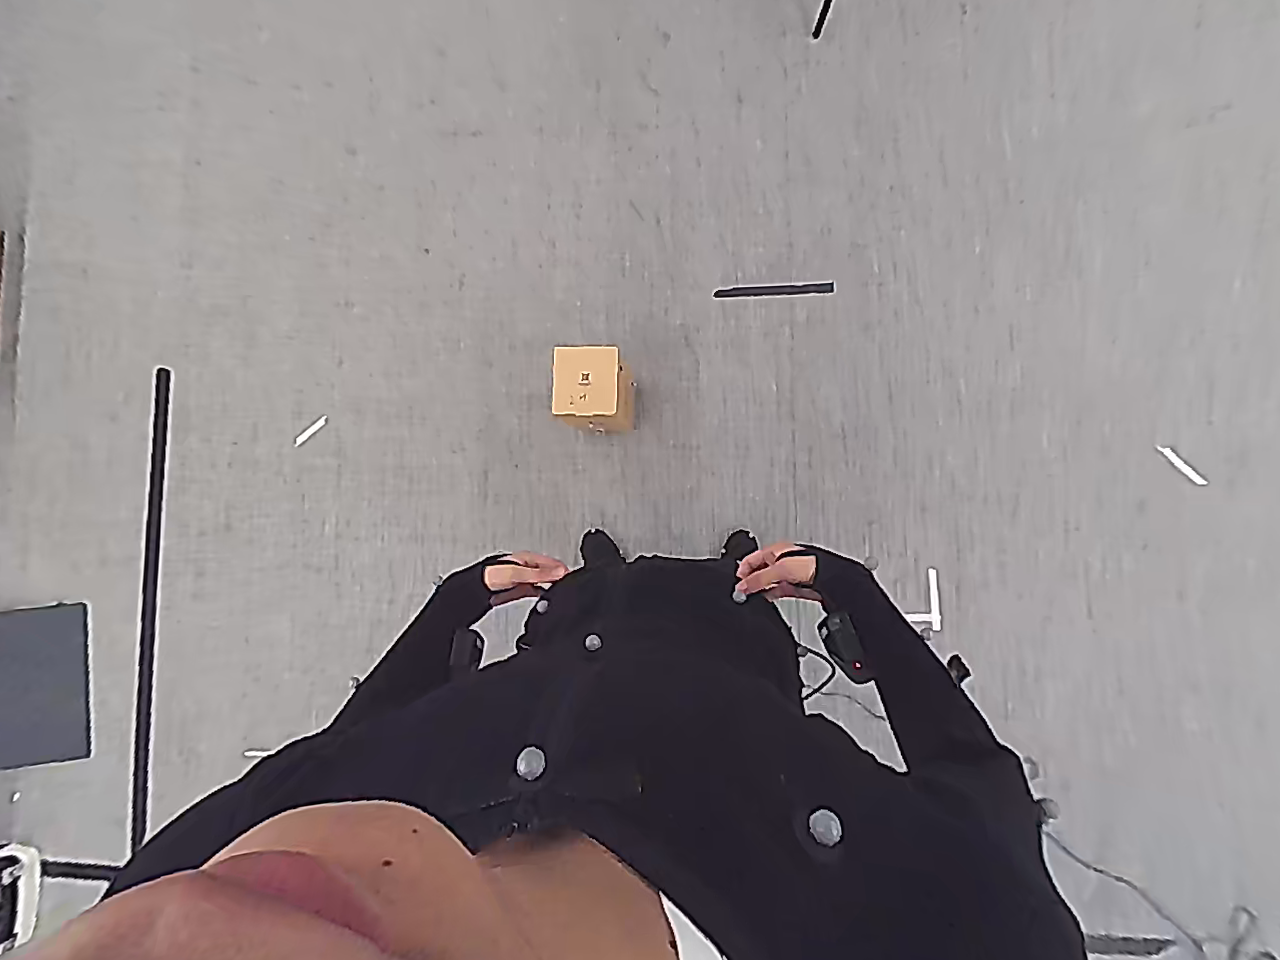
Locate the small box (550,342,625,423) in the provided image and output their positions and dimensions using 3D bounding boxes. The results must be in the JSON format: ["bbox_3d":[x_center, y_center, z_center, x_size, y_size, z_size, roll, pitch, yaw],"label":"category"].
[{"bbox_3d":[-0.133,-0.252,1.419,0.168,0.176,0.179,1,87,6],"label":"small box"}]

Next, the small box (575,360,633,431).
[{"bbox_3d":[-0.112,-0.245,1.581,0.168,0.176,0.179,2,86,6],"label":"small box"}]
